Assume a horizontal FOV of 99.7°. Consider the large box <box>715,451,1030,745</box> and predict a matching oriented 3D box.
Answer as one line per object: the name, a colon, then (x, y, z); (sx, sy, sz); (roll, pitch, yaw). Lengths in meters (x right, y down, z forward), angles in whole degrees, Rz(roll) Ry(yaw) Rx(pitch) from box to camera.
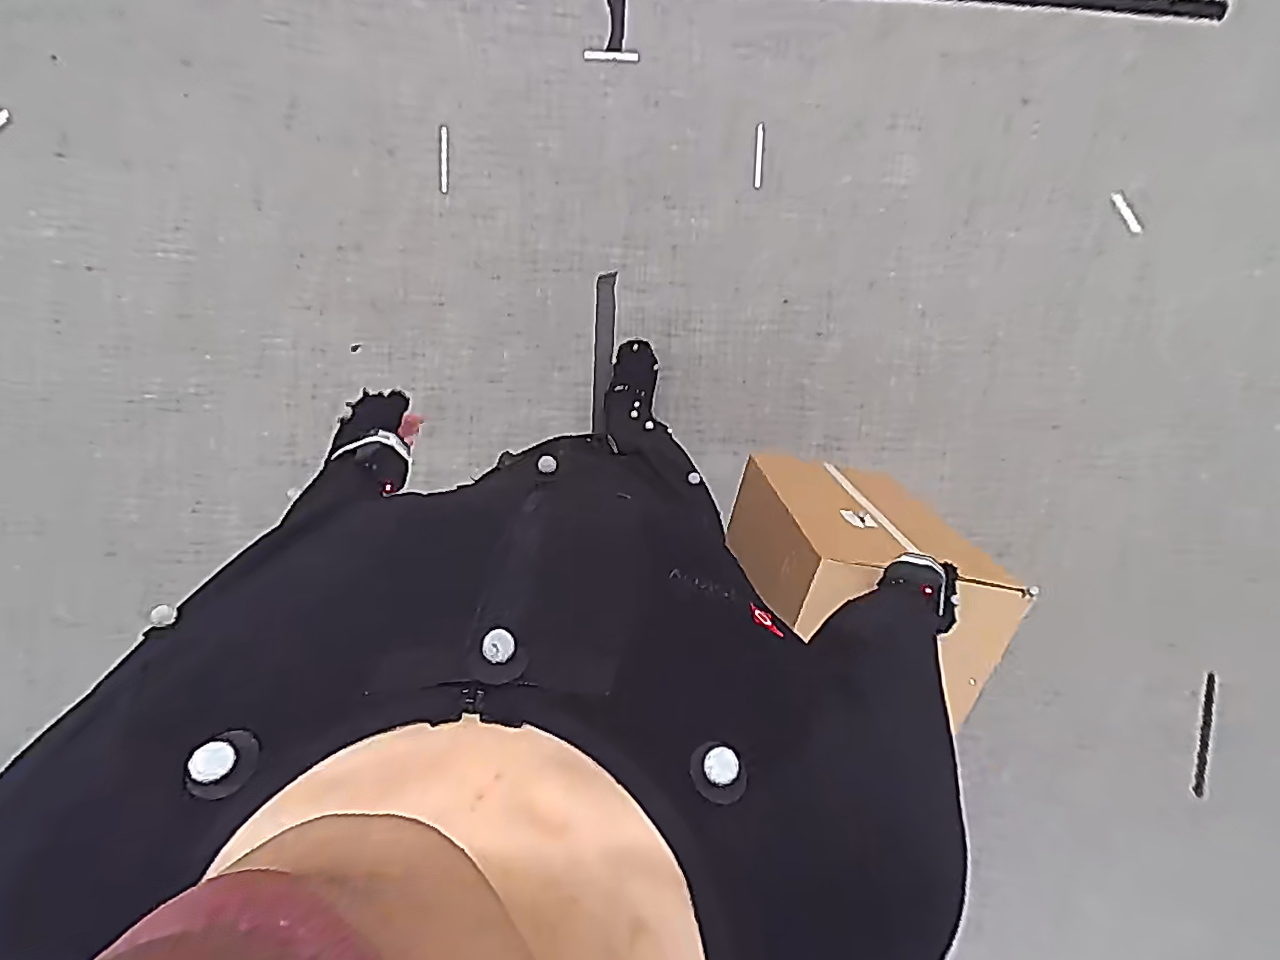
large box: (0.350, 0.183, 0.965); (0.320, 0.408, 0.320); (10, 113, -7)
